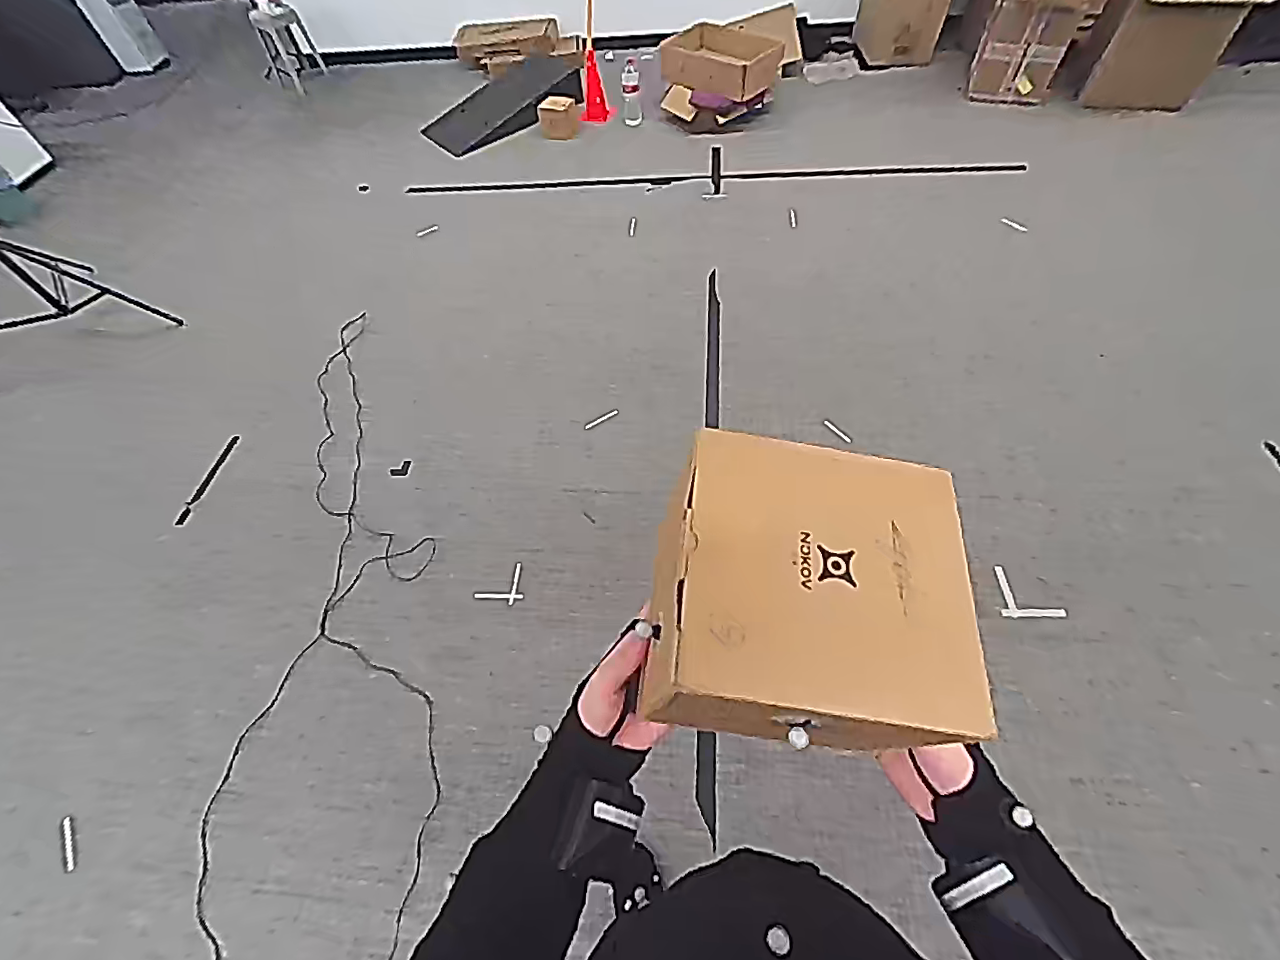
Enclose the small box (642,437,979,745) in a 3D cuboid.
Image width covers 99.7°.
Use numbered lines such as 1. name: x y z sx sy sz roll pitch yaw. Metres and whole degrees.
1. small box: 0.102 0.093 0.400 0.179 0.176 0.168 10 61 -3
